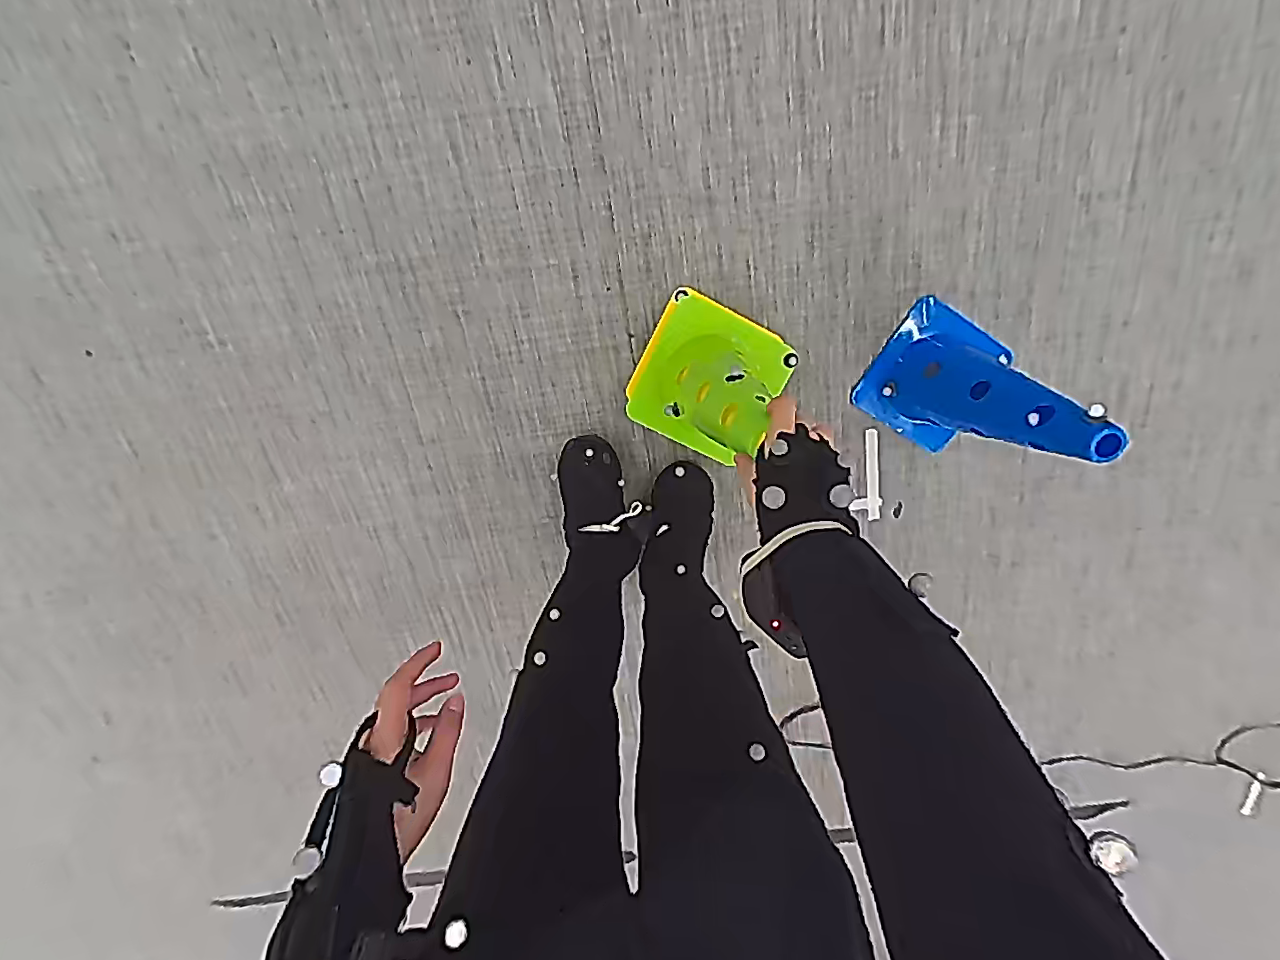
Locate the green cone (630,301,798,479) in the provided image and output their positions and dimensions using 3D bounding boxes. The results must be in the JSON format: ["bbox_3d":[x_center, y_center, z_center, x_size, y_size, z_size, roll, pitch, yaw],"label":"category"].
[{"bbox_3d":[0.110,-0.082,0.641,0.200,0.368,0.202,24,107,-8],"label":"green cone"}]
